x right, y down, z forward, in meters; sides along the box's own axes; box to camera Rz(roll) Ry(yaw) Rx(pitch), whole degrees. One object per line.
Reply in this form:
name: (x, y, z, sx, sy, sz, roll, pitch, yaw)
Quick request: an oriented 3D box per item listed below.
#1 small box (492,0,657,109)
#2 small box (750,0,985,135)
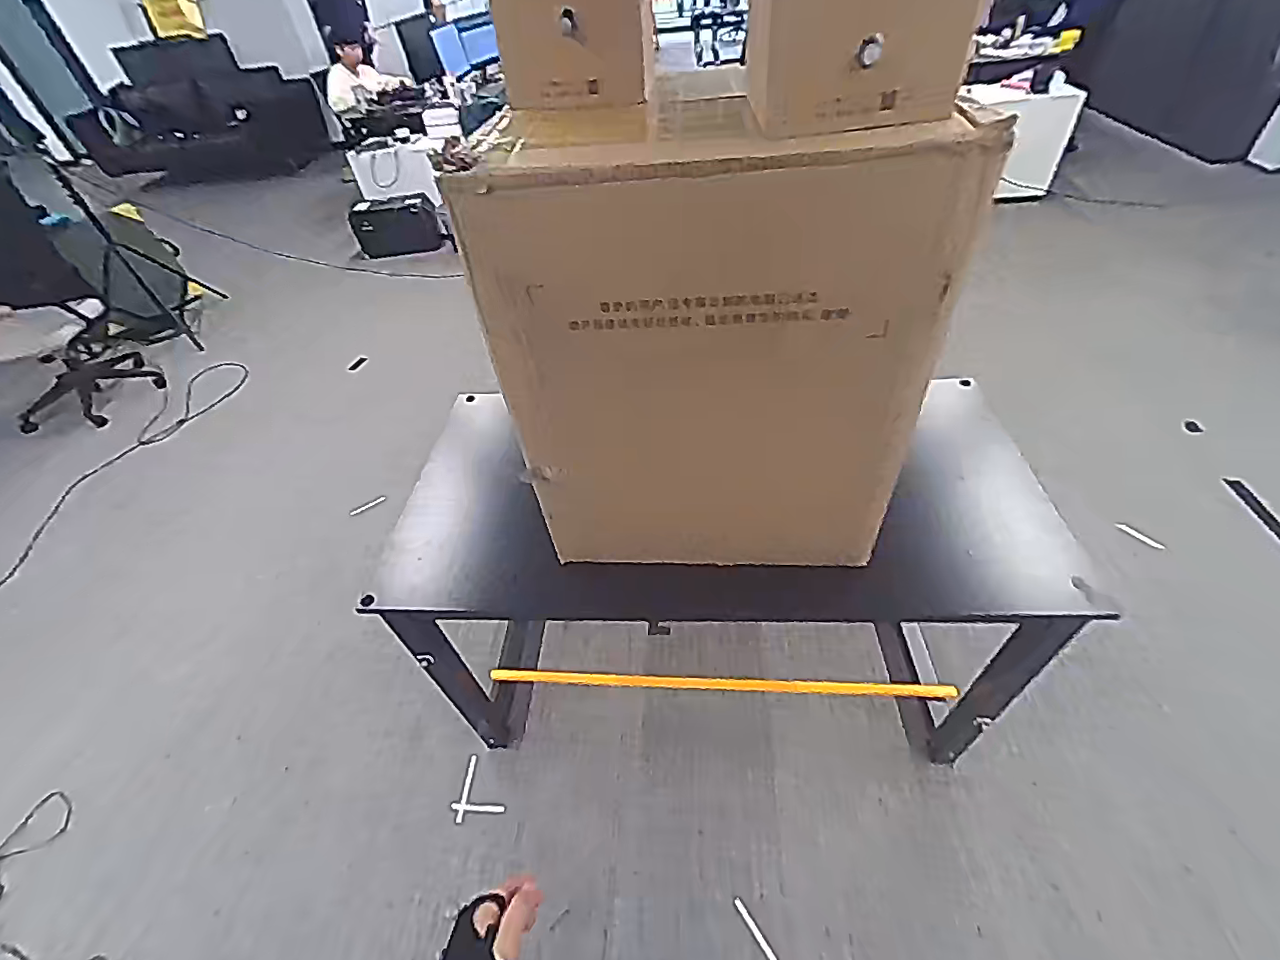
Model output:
small box: (-0.069, -0.551, 0.635, 0.168, 0.176, 0.179, 1, 46, 6)
small box: (0.192, -0.432, 0.486, 0.168, 0.176, 0.179, -3, 46, 6)
